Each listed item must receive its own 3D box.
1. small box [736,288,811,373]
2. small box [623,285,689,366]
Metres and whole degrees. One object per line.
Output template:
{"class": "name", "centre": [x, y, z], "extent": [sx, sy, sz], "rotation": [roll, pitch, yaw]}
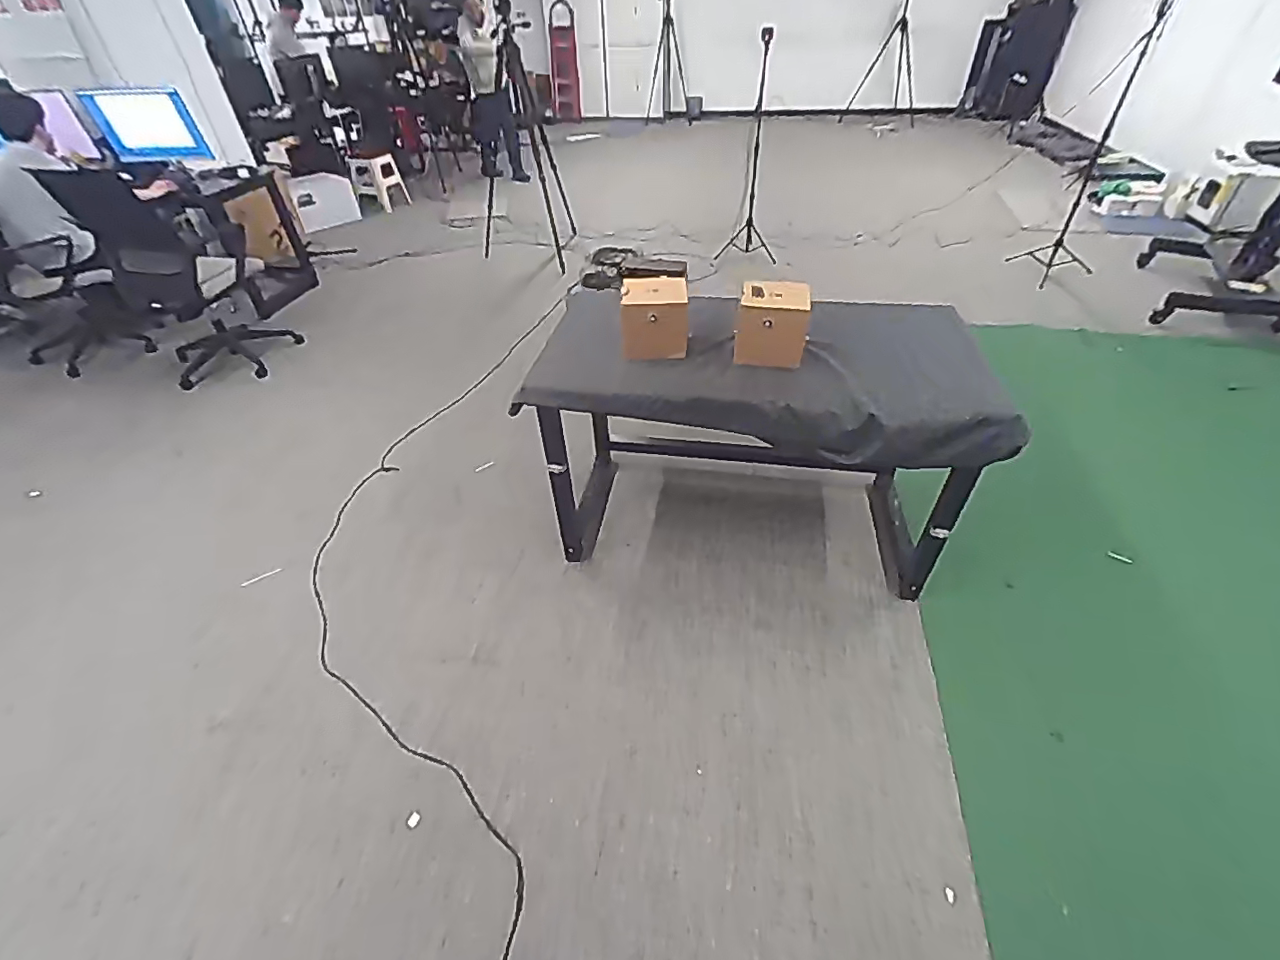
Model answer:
{"class": "small box", "centre": [0.357, -0.403, 1.459], "extent": [0.179, 0.176, 0.168], "rotation": [7, 42, 10]}
{"class": "small box", "centre": [0.046, -0.431, 1.510], "extent": [0.179, 0.176, 0.168], "rotation": [0, 43, 1]}
